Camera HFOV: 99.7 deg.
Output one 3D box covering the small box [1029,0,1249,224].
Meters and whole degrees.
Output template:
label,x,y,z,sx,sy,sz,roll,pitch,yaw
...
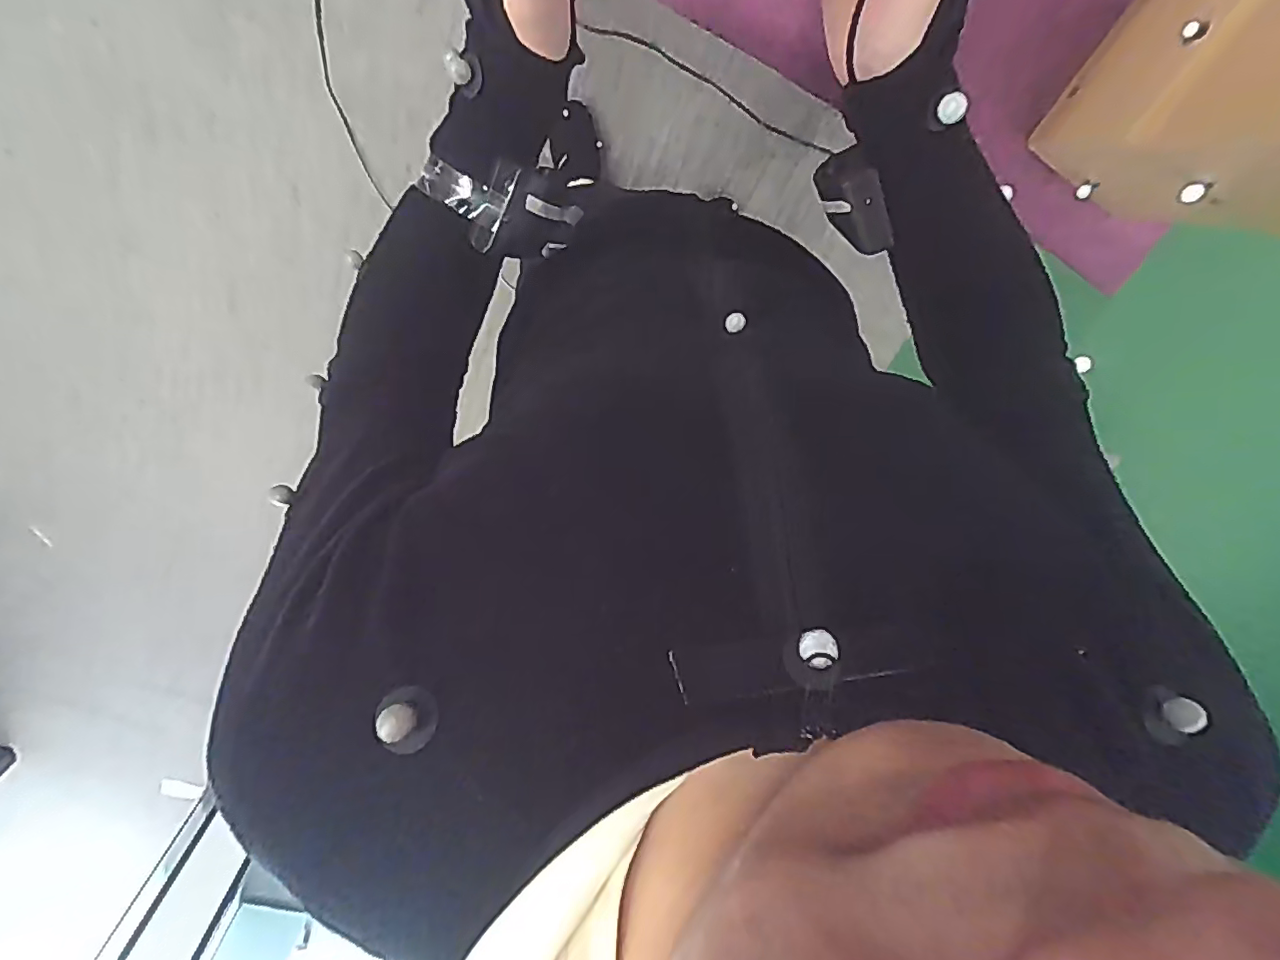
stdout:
label,x,y,z,sx,sy,sz,roll,pitch,yaw
small box,0.600,-0.418,0.603,0.179,0.176,0.168,25,117,-15
